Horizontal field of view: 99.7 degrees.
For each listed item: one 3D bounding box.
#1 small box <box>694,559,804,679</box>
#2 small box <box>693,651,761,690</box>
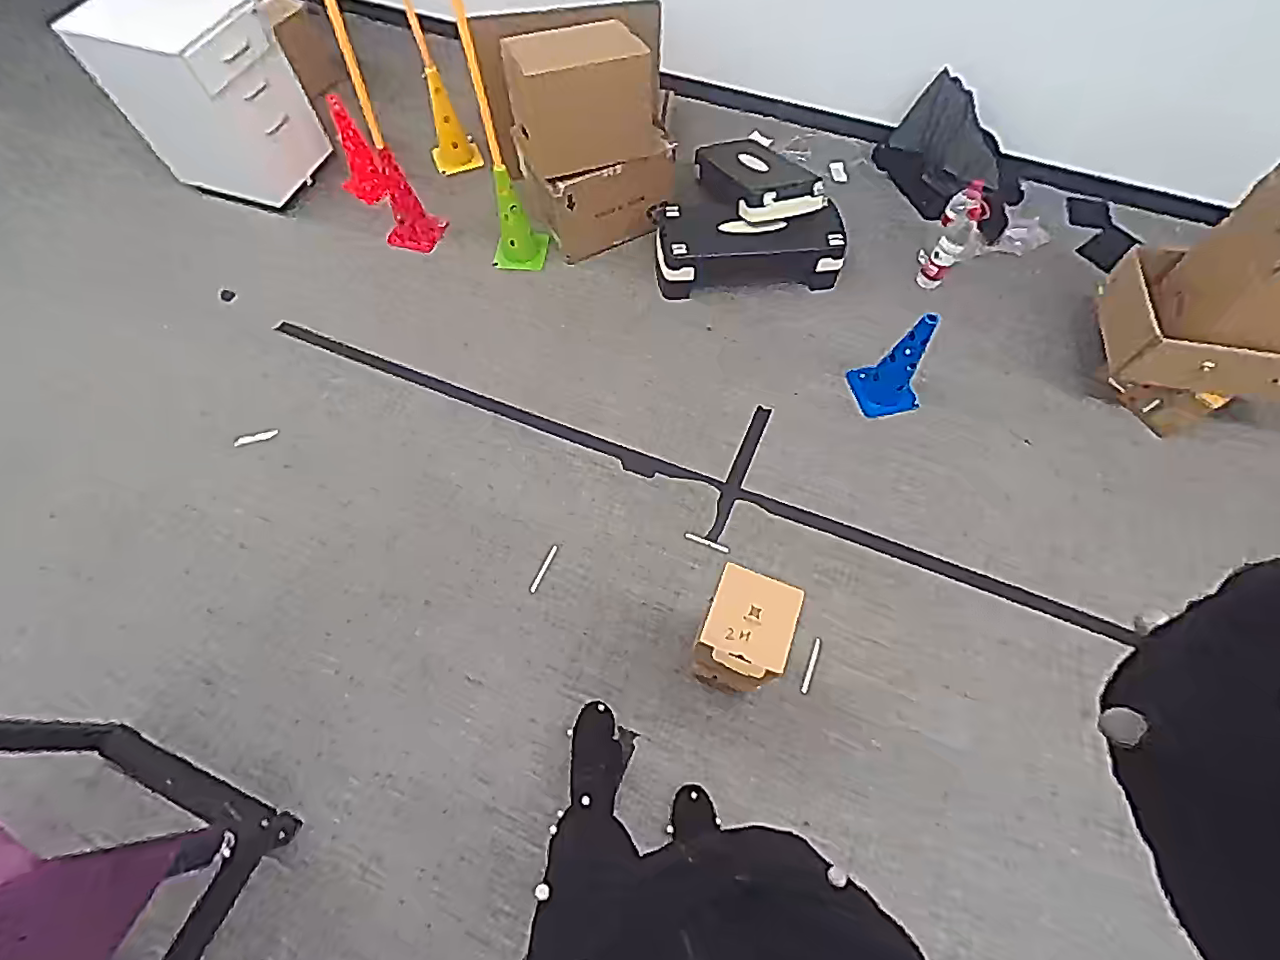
[{"bbox_3d":[0.217,0.293,1.120,0.168,0.176,0.179,20,66,9],"label":"small box"},{"bbox_3d":[0.240,0.436,1.419,0.168,0.176,0.179,17,65,8],"label":"small box"}]
